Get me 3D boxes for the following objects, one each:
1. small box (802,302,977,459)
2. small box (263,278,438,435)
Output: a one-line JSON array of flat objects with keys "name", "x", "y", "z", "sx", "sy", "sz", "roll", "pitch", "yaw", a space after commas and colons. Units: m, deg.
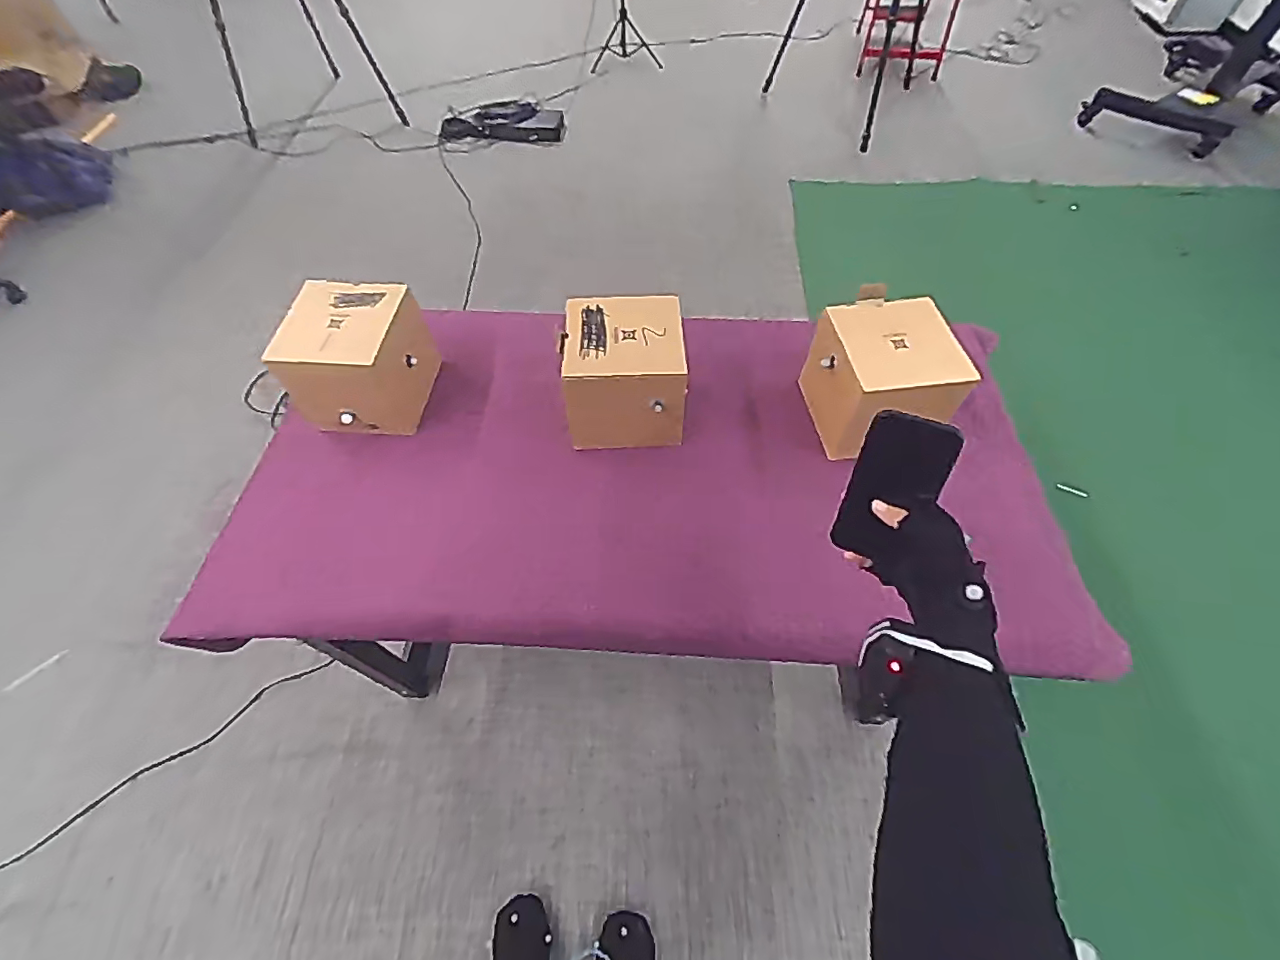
[{"name": "small box", "x": 0.368, "y": -0.146, "z": 0.835, "sx": 0.168, "sy": 0.176, "sz": 0.179, "roll": -6, "pitch": 57, "yaw": -3}, {"name": "small box", "x": -0.444, "y": -0.195, "z": 0.868, "sx": 0.168, "sy": 0.176, "sz": 0.179, "roll": 4, "pitch": 59, "yaw": 3}]
